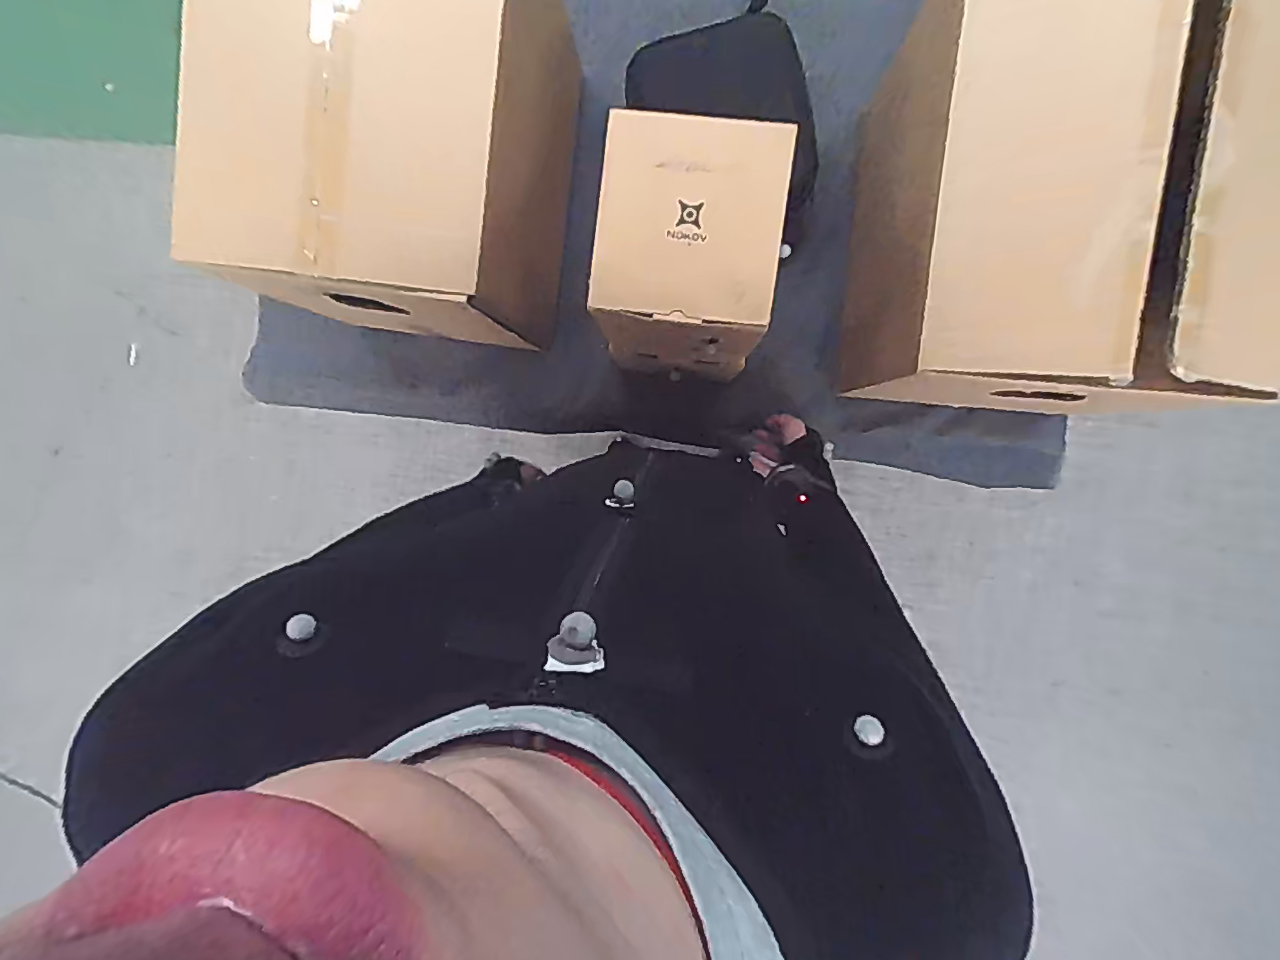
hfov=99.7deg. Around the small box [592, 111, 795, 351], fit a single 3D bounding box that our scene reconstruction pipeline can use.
[{"bbox_3d":[0.051,-0.238,0.561,0.168,0.176,0.179,6,94,2],"label":"small box"}]
